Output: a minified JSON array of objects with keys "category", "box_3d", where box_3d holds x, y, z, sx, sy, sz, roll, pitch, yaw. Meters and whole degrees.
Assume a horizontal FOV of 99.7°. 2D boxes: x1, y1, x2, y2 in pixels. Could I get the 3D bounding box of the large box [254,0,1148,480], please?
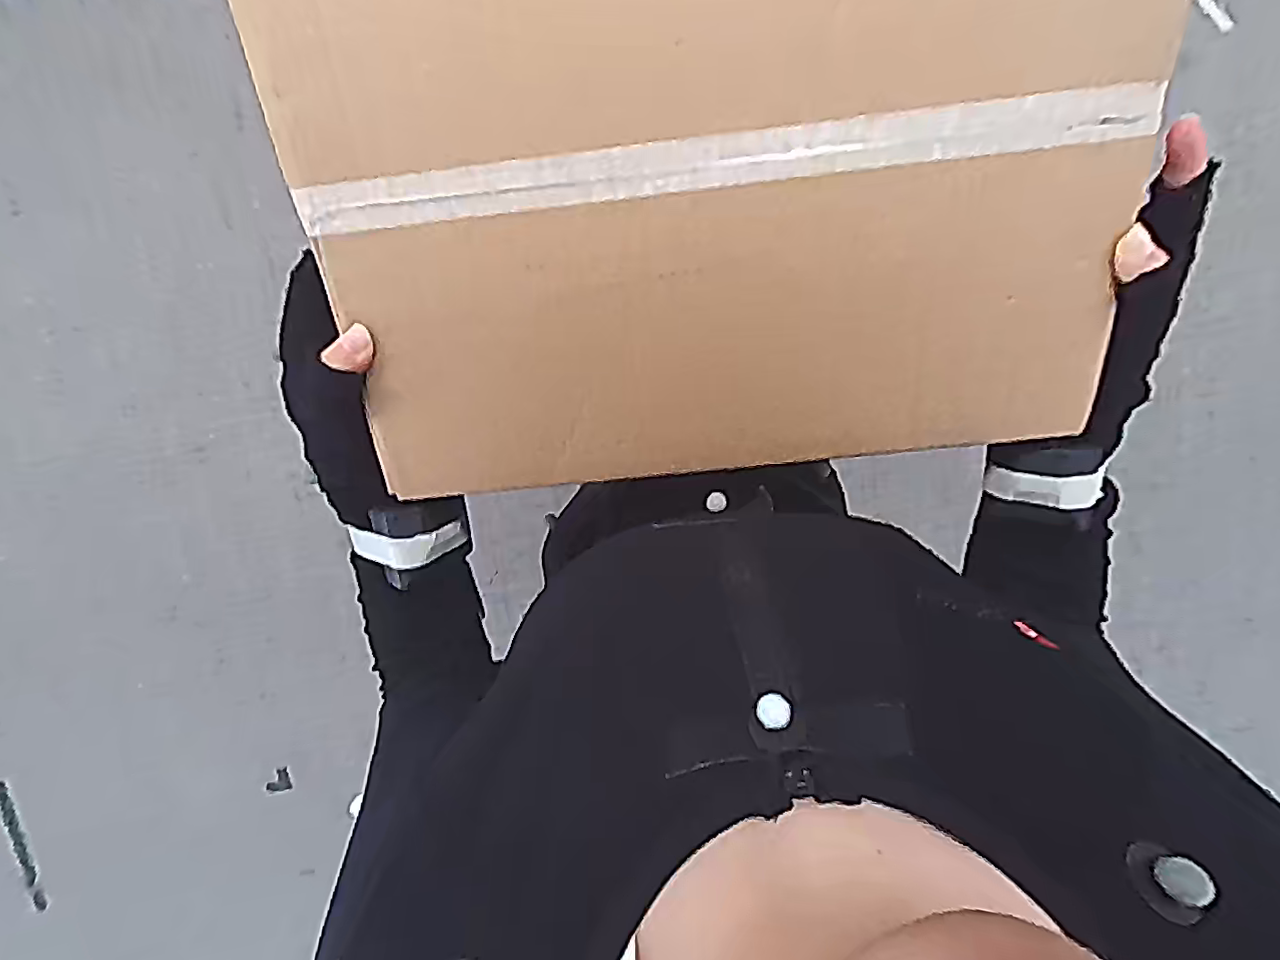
[{"category":"large box","box_3d":[0.030,-0.219,0.402,0.408,0.320,0.320,-6,115,2]}]
